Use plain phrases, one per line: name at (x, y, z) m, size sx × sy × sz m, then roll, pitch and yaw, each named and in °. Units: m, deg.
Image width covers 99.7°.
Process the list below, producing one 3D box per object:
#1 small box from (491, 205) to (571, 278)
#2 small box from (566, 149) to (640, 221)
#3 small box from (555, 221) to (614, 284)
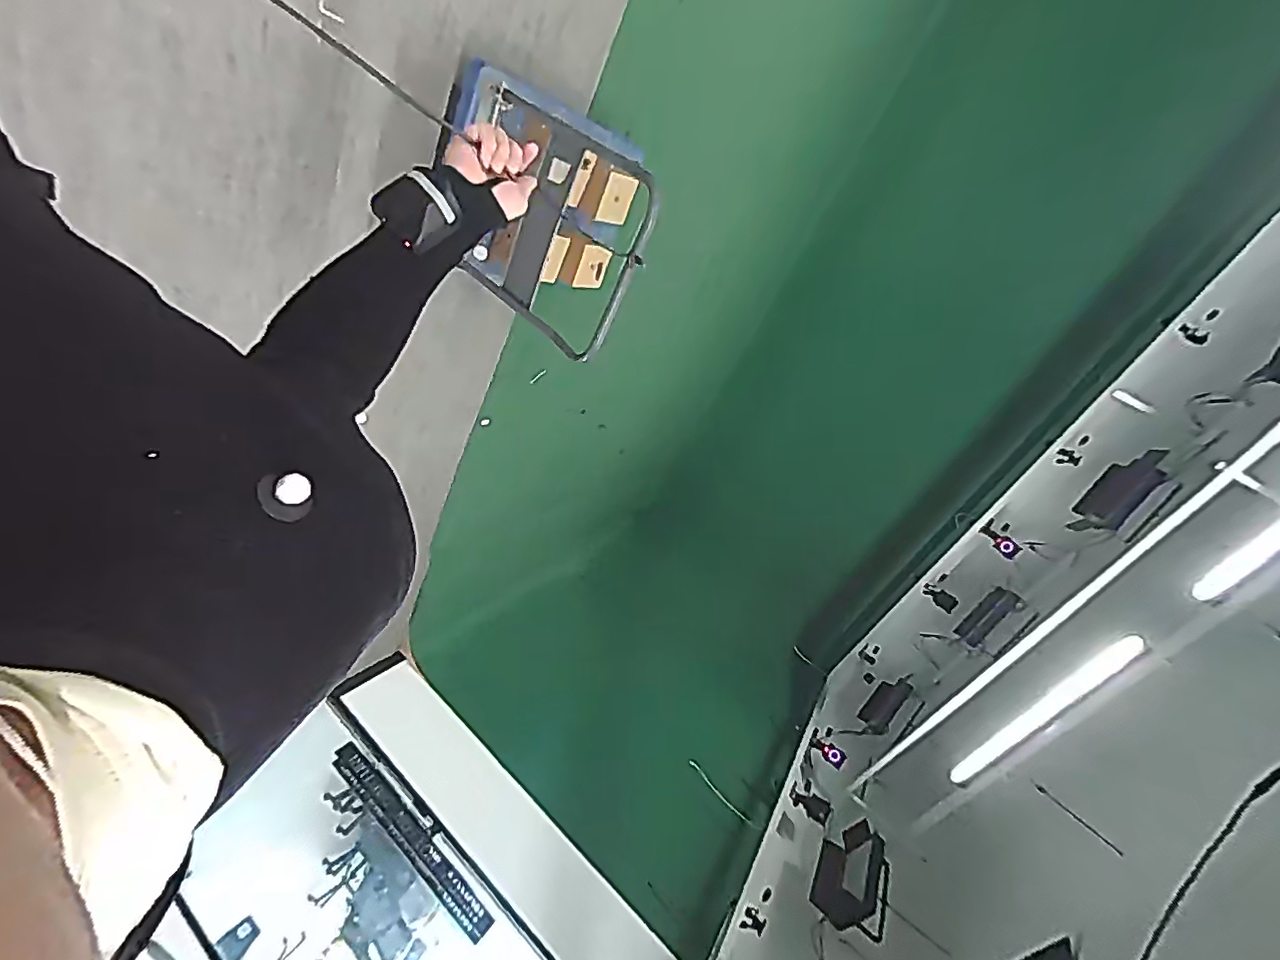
small box at (-0.378, -0.820, 1.860) m, size 0.179 × 0.176 × 0.168 m, roll -20°, pitch 145°, yaw -56°
small box at (-0.138, -1.066, 1.952) m, size 0.179 × 0.176 × 0.168 m, roll -26°, pitch 150°, yaw -53°
small box at (-0.238, -0.876, 2.084) m, size 0.179 × 0.176 × 0.168 m, roll -24°, pitch 148°, yaw -52°
